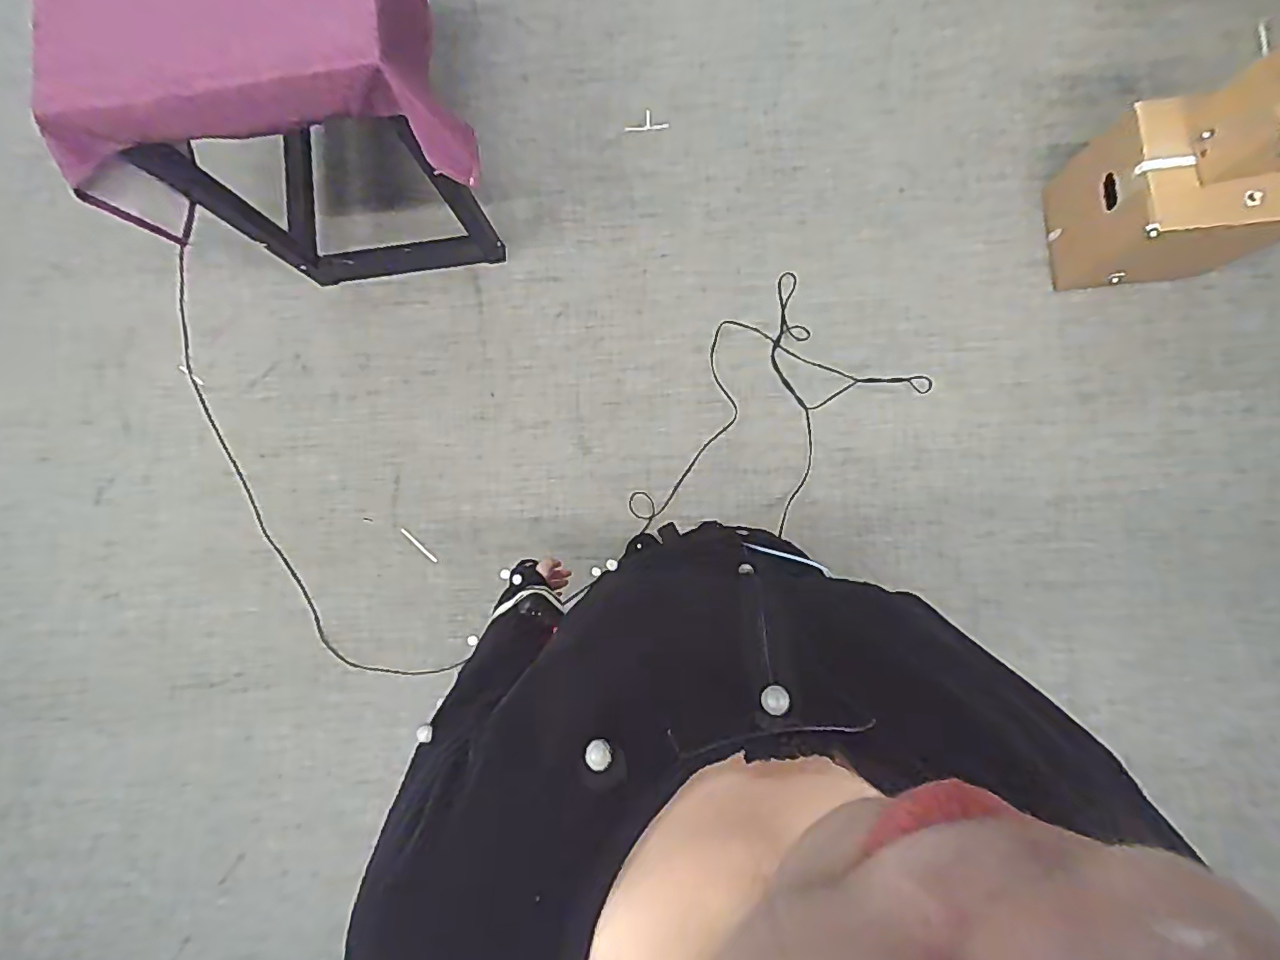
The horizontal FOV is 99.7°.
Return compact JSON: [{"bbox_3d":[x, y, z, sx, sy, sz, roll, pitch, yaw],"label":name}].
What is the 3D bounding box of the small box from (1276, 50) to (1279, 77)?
[{"bbox_3d":[1.300,-0.773,0.951,0.179,0.176,0.168,-12,84,3],"label":"small box"}]
